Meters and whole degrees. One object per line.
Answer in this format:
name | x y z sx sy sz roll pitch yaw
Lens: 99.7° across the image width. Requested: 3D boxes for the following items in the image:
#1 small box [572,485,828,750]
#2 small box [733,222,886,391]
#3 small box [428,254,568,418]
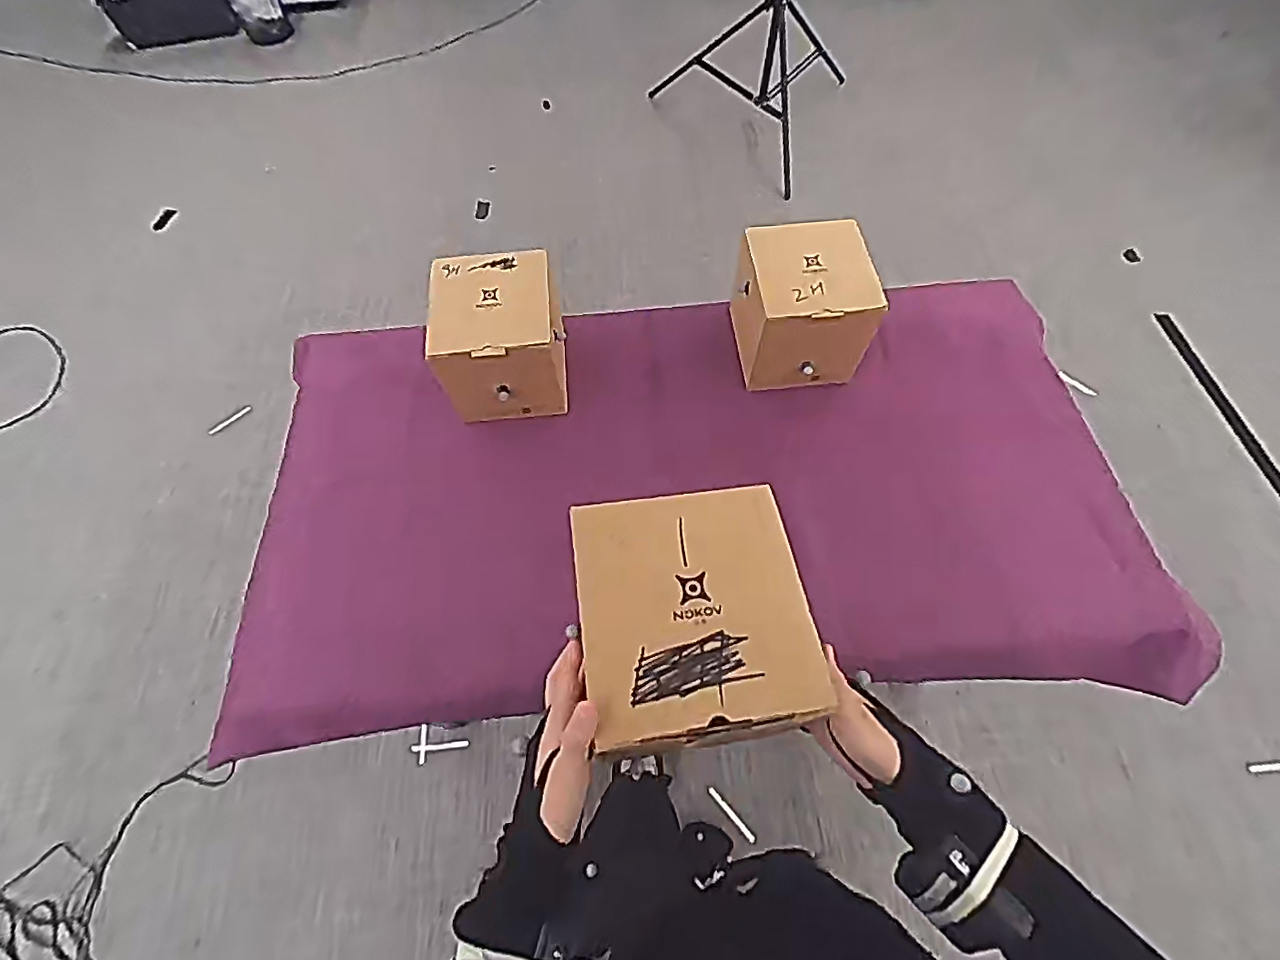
small box | 0.035 0.126 0.464 0.168 0.176 0.179 -6 60 -6
small box | 0.242 -0.259 0.825 0.168 0.176 0.179 -6 64 0
small box | -0.202 -0.205 0.811 0.168 0.176 0.179 -6 65 -2
